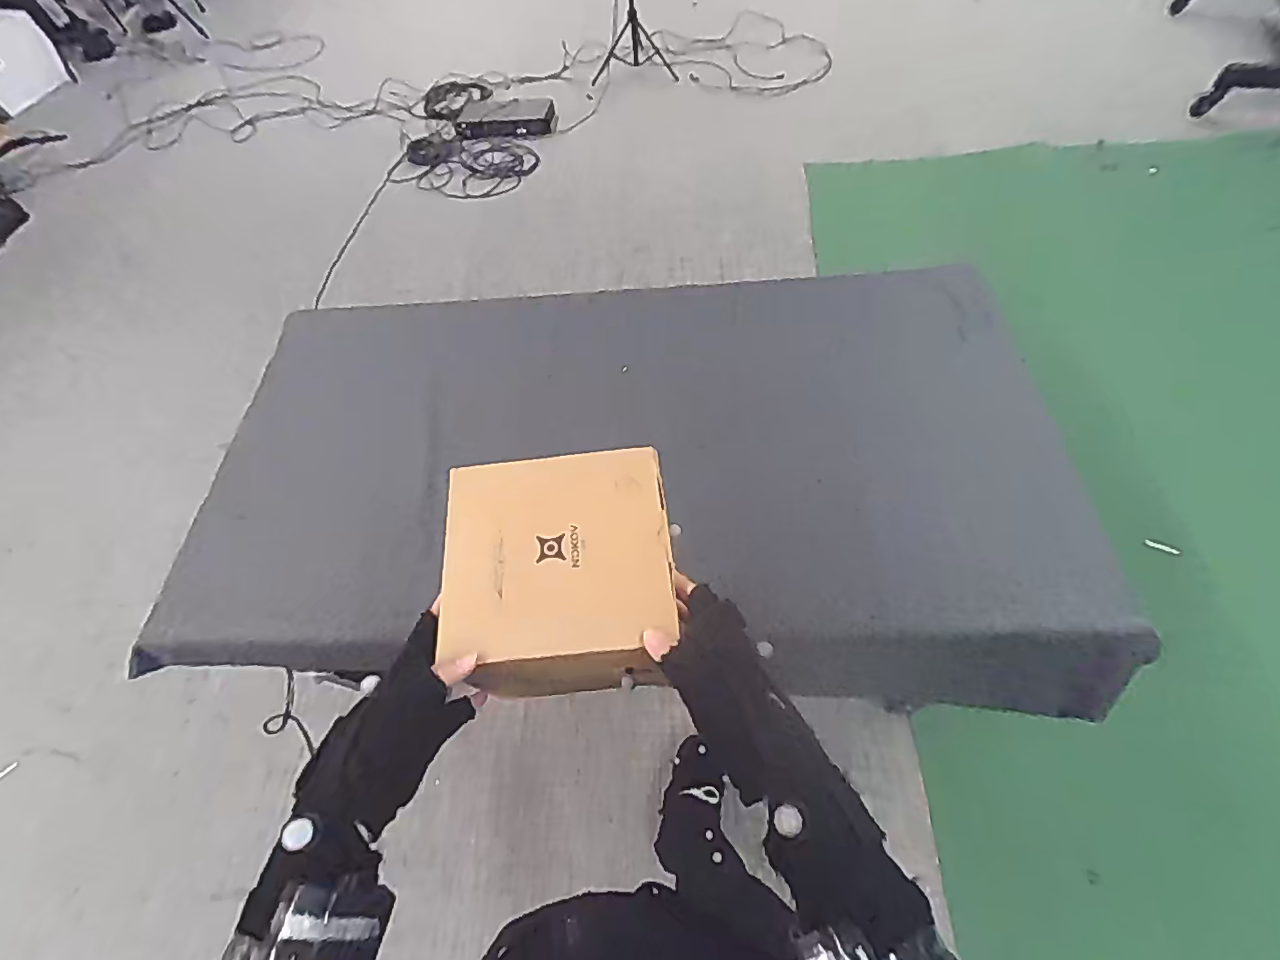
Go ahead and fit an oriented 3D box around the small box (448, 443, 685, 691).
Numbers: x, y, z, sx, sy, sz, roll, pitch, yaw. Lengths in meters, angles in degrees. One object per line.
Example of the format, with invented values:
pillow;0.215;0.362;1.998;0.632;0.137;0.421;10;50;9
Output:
small box;-0.057;0.088;0.499;0.179;0.176;0.168;-8;59;1
